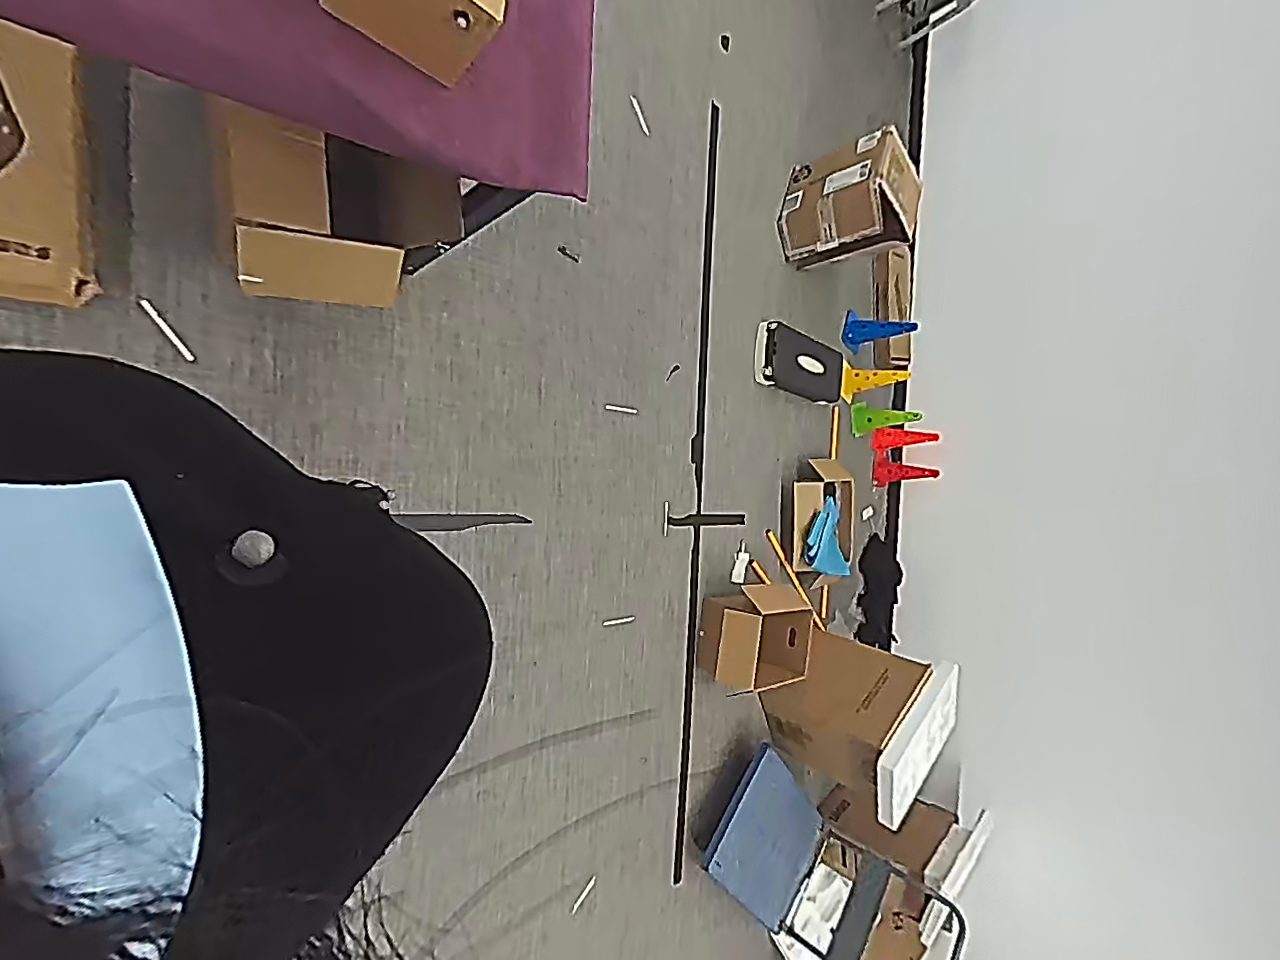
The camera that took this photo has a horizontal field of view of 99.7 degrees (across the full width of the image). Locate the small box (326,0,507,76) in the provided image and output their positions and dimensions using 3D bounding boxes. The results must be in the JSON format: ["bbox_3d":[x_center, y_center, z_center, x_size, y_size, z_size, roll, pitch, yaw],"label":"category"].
[{"bbox_3d":[-0.277,-0.662,0.675,0.179,0.176,0.168,9,87,-43],"label":"small box"}]
